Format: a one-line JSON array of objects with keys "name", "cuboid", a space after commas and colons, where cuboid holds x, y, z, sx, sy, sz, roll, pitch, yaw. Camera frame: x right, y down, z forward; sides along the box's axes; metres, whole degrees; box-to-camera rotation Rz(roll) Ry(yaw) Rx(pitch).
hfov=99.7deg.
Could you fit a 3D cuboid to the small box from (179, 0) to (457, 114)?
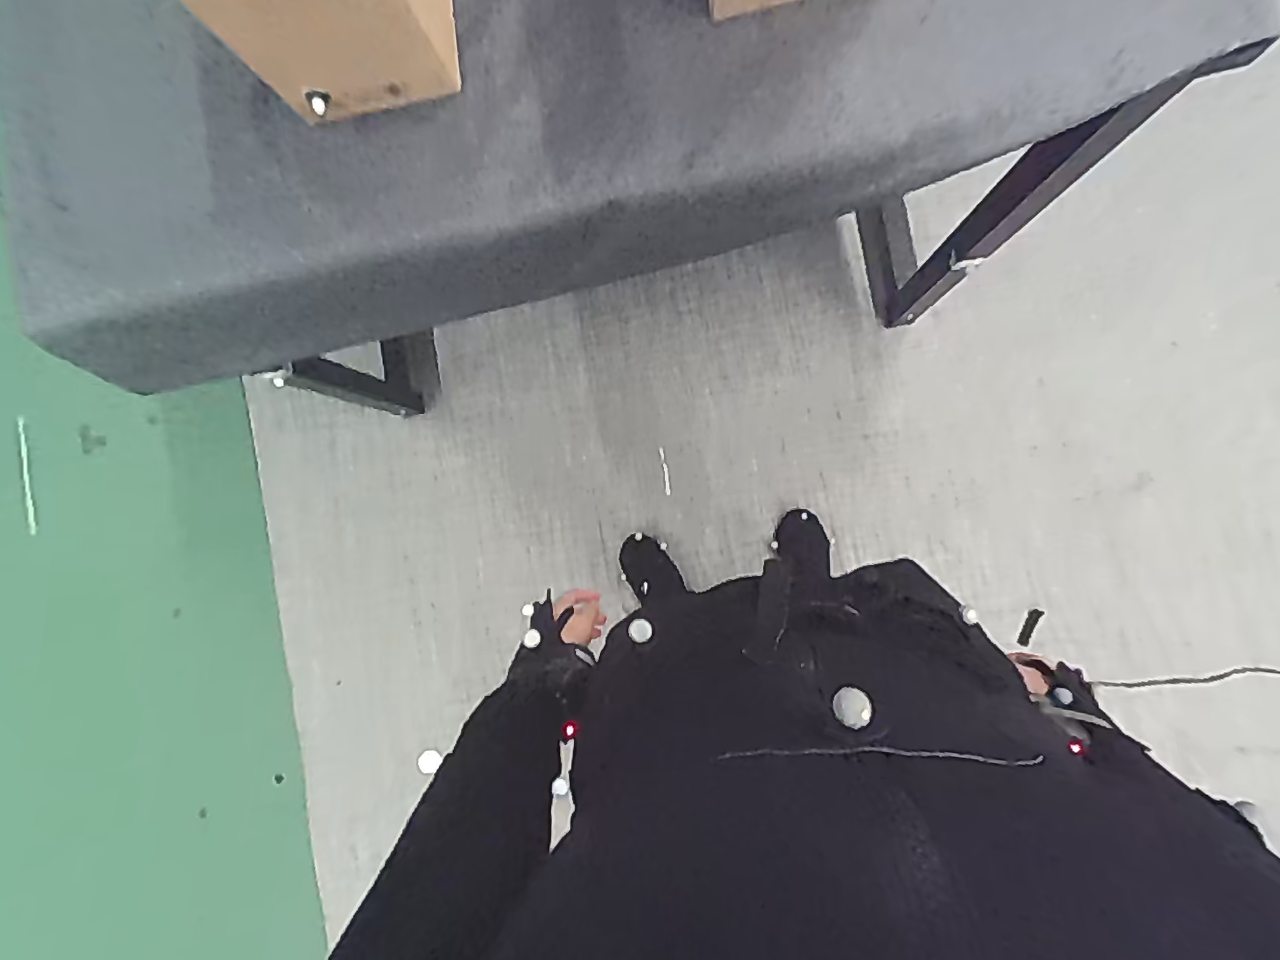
[{"name": "small box", "cuboid": [-0.276, -0.459, 0.473, 0.168, 0.176, 0.179, -7, 86, 6]}]
